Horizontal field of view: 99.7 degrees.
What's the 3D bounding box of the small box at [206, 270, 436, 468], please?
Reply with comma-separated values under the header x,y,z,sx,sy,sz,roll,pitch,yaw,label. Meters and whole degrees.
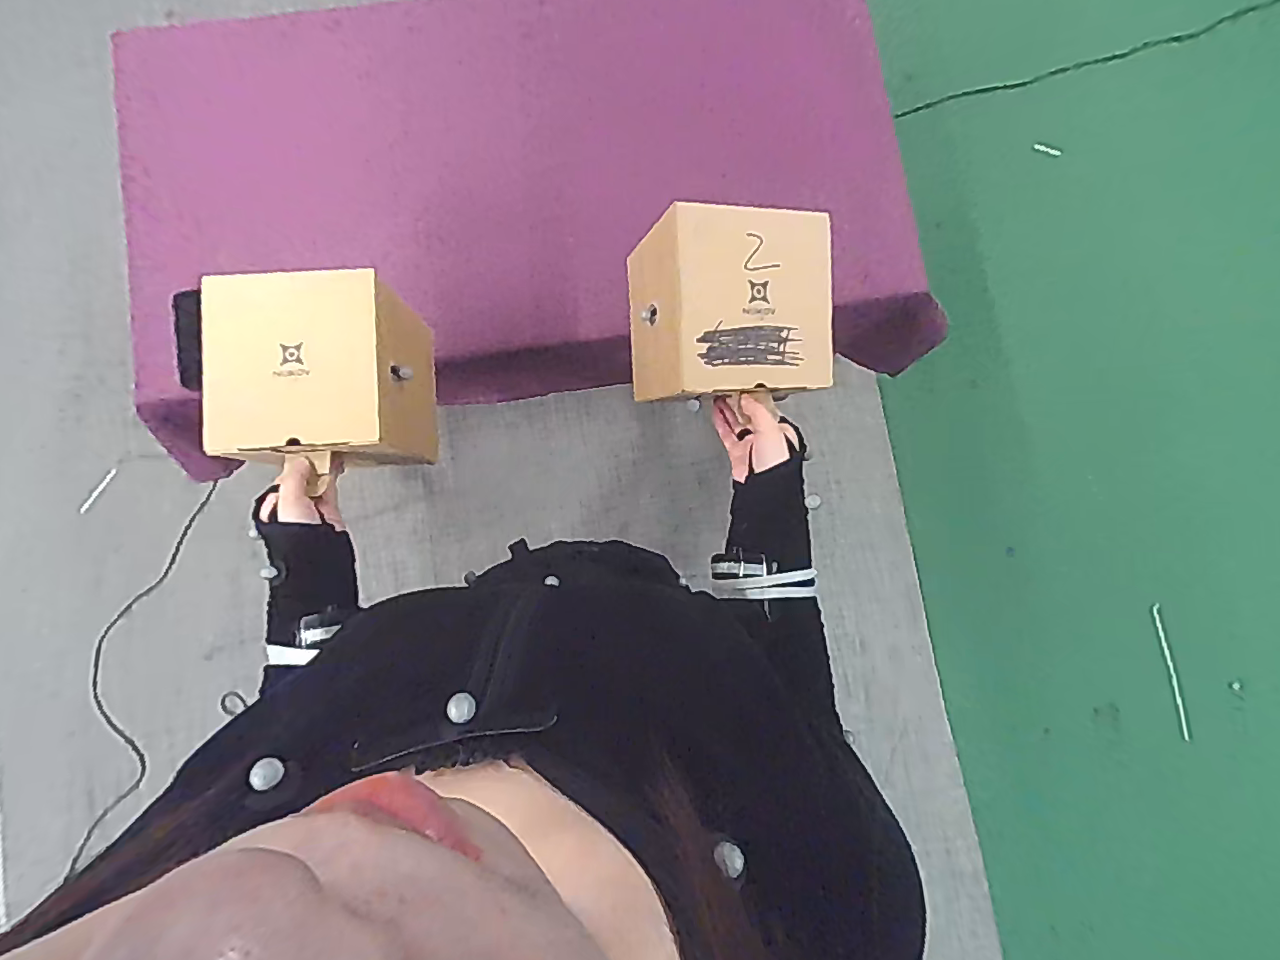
x,y,z,sx,sy,sz,roll,pitch,yaw,label
-0.335,-0.111,0.599,0.168,0.176,0.179,-3,86,-4,small box
